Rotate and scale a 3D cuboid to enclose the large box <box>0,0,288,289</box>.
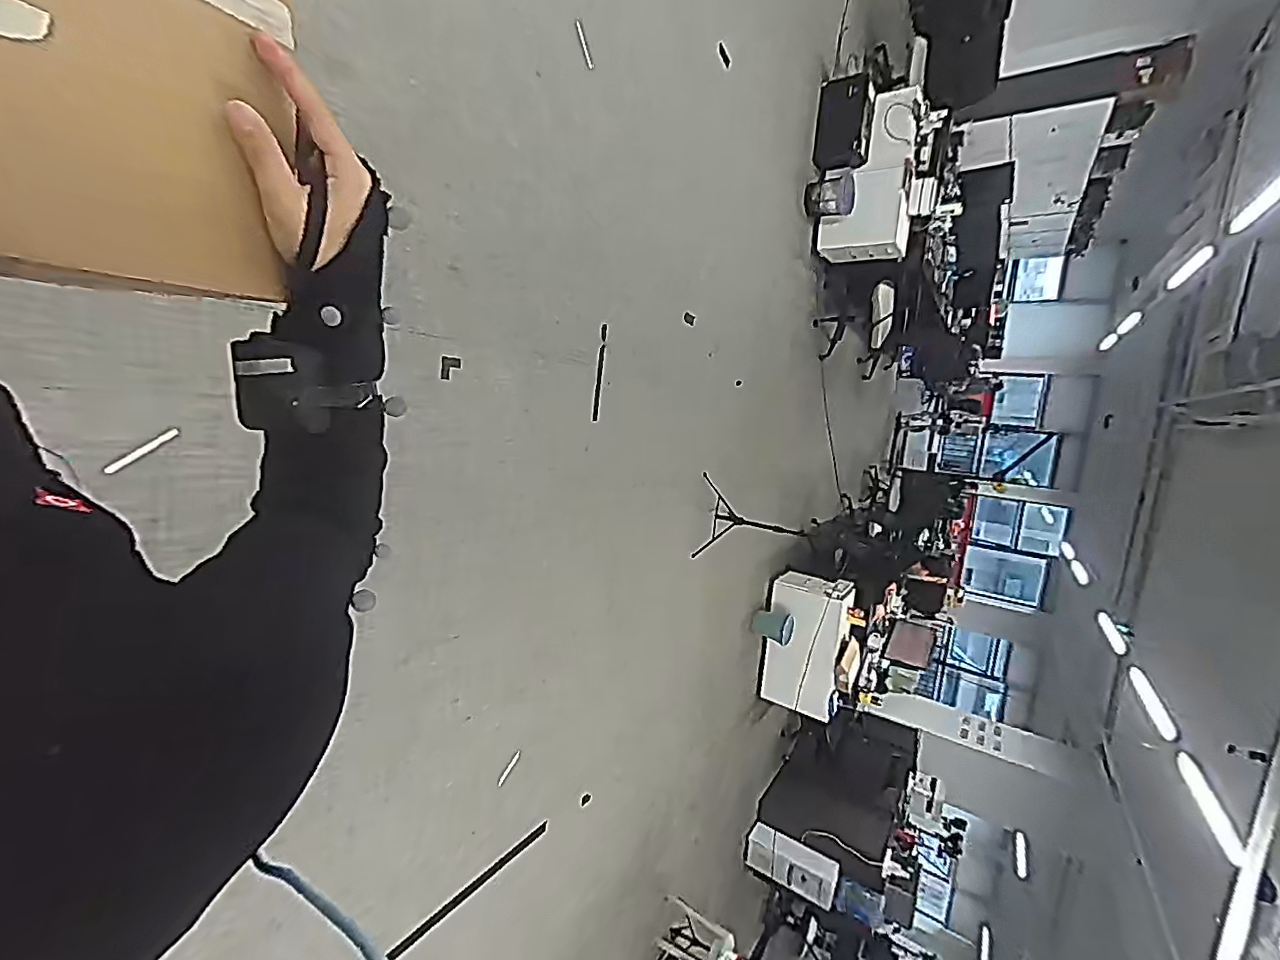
[{"bbox_3d":[-0.448,-0.277,0.231,0.408,0.320,0.320,-14,114,-60],"label":"large box"}]
